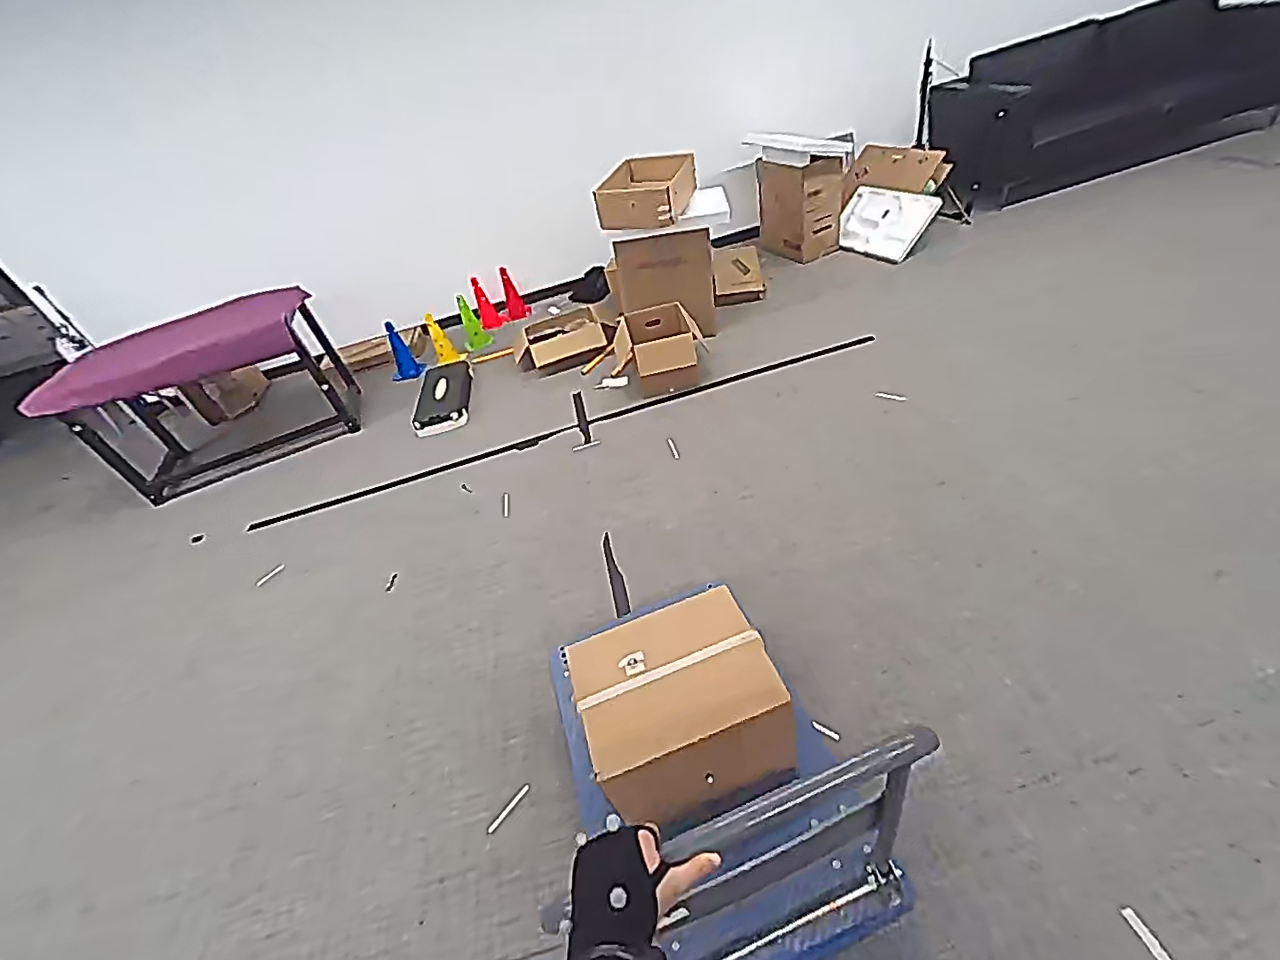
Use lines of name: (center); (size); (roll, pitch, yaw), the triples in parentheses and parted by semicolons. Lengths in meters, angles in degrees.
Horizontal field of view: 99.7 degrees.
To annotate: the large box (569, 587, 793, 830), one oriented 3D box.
large box: (0.096, 0.522, 1.249); (0.408, 0.320, 0.320); (-22, 39, -5)
